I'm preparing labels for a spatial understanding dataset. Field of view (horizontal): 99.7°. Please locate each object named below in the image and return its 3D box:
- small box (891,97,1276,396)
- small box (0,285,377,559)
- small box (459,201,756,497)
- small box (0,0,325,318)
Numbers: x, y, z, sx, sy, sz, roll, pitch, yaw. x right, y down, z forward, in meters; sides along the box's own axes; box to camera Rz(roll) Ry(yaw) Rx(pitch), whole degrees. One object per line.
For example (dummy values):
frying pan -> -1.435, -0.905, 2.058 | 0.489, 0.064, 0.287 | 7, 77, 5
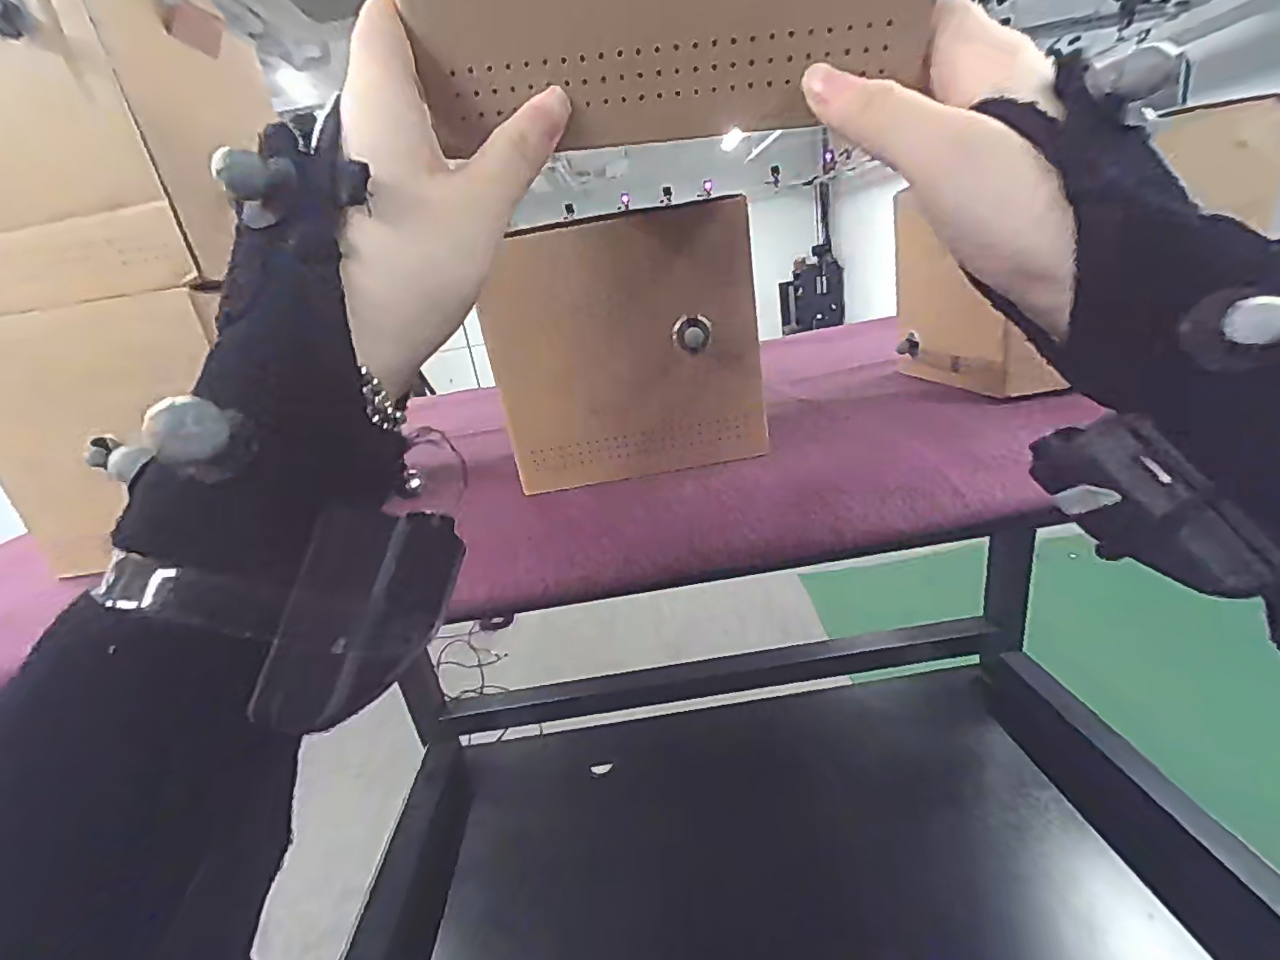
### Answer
small box -> 0.328, -0.170, 0.439 | 0.179, 0.176, 0.168 | -9, 18, 2
small box -> -0.331, -0.049, 0.415 | 0.168, 0.176, 0.179 | -9, 21, -1
small box -> -0.014, -0.102, 0.421 | 0.179, 0.176, 0.168 | -11, 20, 0
small box -> -0.354, -0.200, 0.357 | 0.179, 0.176, 0.168 | -9, 22, -1
